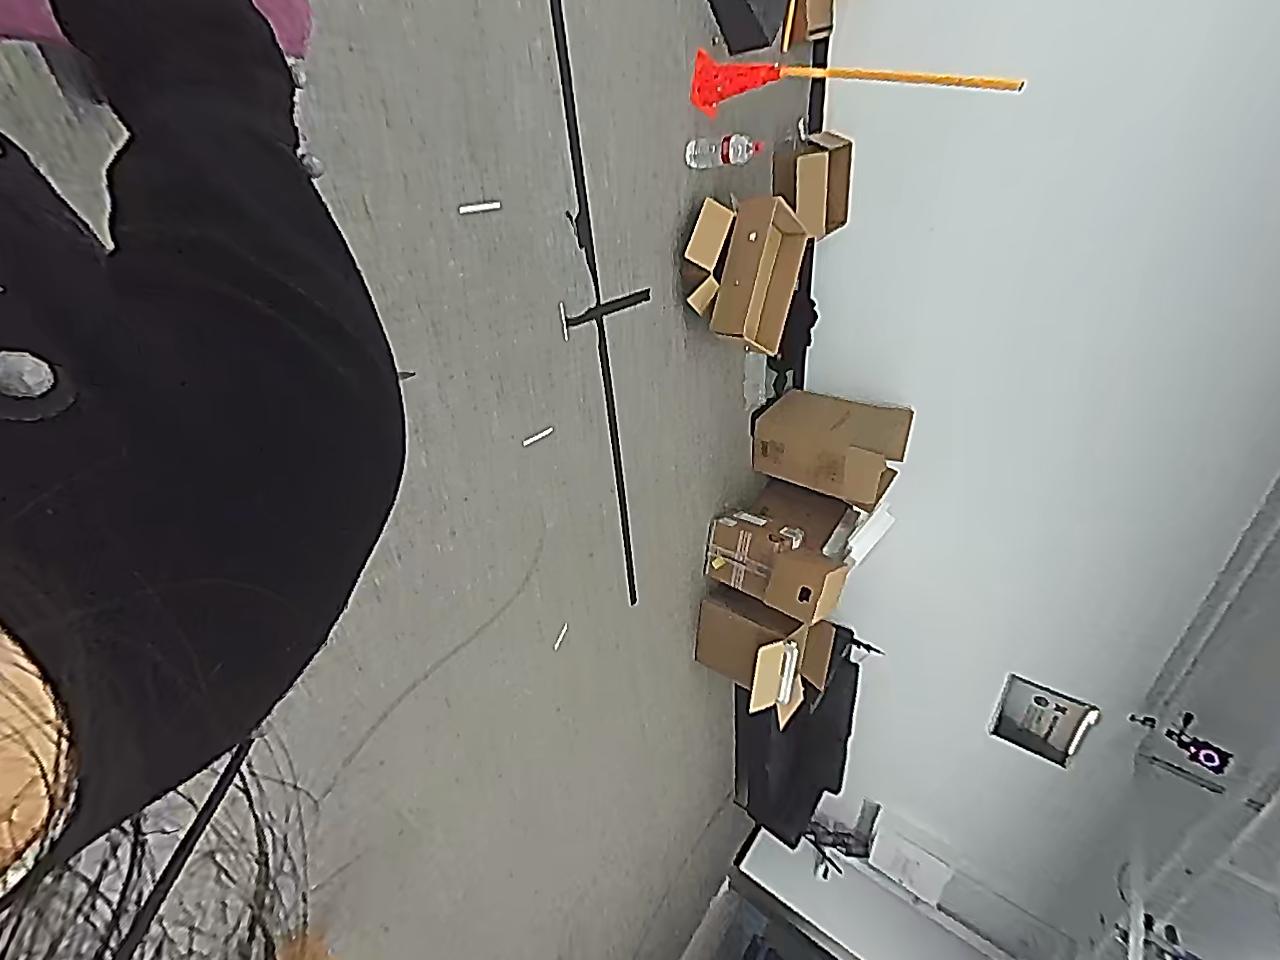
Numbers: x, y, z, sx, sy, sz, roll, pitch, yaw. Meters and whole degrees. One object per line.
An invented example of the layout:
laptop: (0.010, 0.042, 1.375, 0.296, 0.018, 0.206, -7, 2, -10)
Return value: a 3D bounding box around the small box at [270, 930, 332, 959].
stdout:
small box: (-1.119, 1.636, 1.772, 0.168, 0.176, 0.179, -38, 133, -39)
